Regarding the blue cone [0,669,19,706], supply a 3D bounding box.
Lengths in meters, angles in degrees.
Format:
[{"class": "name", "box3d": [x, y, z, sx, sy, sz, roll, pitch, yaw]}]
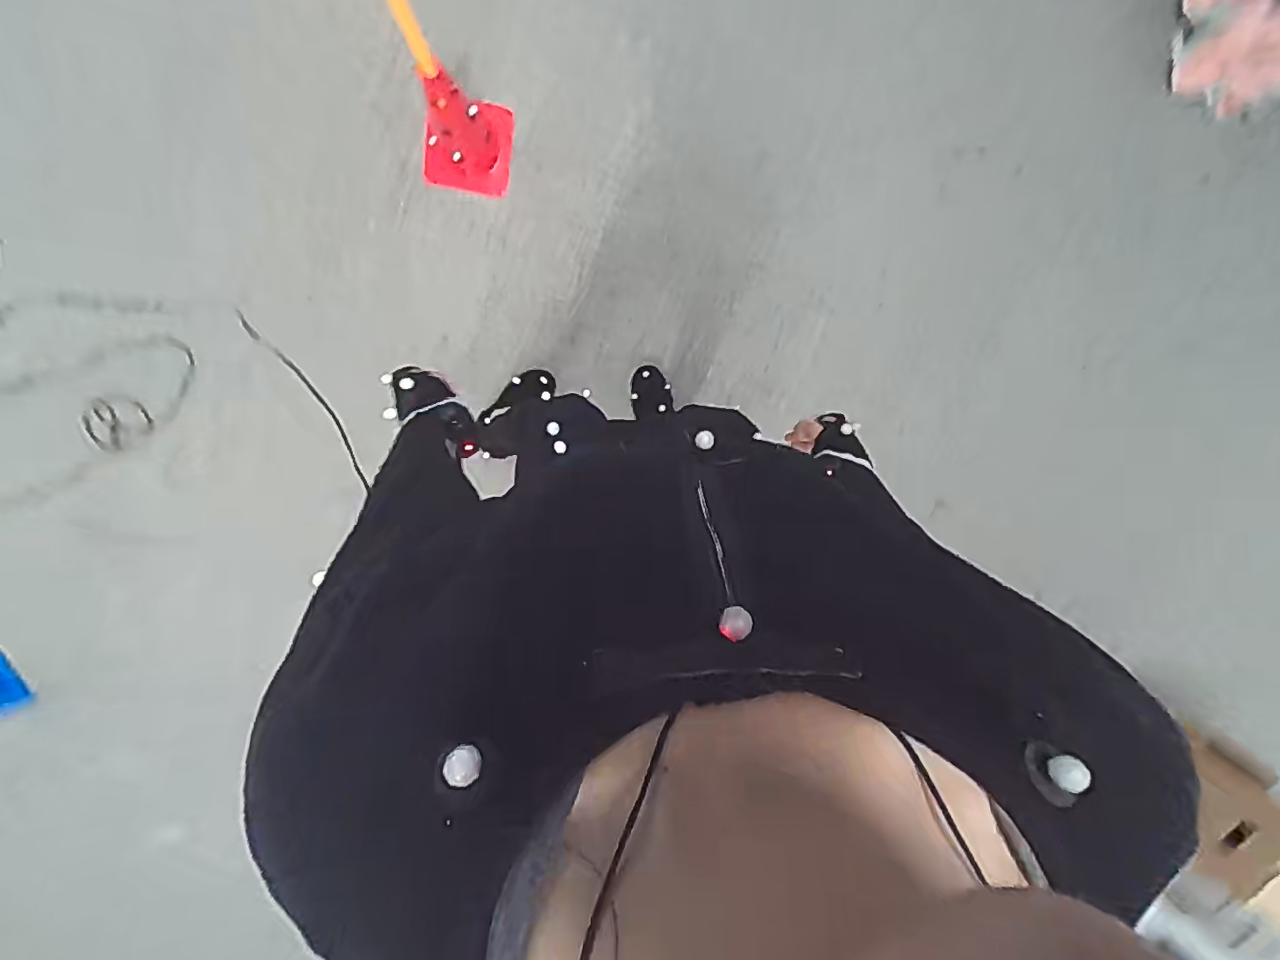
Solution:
[{"class": "blue cone", "box3d": [-1.722, 0.567, 1.245, 0.192, 0.380, 0.193, -23, 106, -2]}]
